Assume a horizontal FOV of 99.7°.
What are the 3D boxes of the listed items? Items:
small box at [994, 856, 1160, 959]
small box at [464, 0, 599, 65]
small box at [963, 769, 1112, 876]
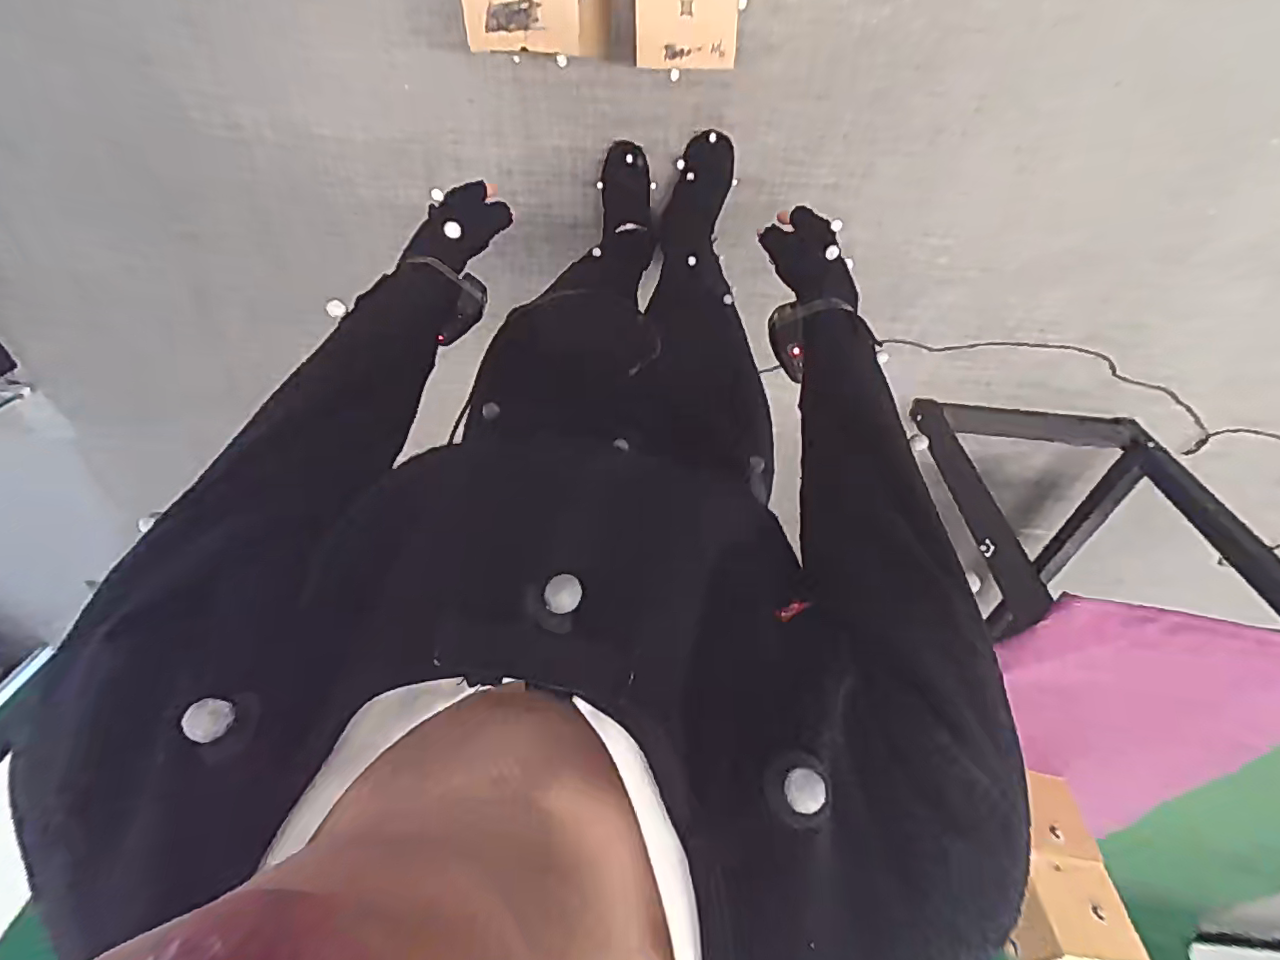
[{"bbox_3d":[0.853,0.875,1.079,0.168,0.176,0.179,7,130,0],"label":"small box"},{"bbox_3d":[-0.153,-0.725,0.790,0.168,0.176,0.179,4,130,3],"label":"small box"},{"bbox_3d":[0.864,0.766,1.198,0.179,0.176,0.168,9,130,-1],"label":"small box"}]
